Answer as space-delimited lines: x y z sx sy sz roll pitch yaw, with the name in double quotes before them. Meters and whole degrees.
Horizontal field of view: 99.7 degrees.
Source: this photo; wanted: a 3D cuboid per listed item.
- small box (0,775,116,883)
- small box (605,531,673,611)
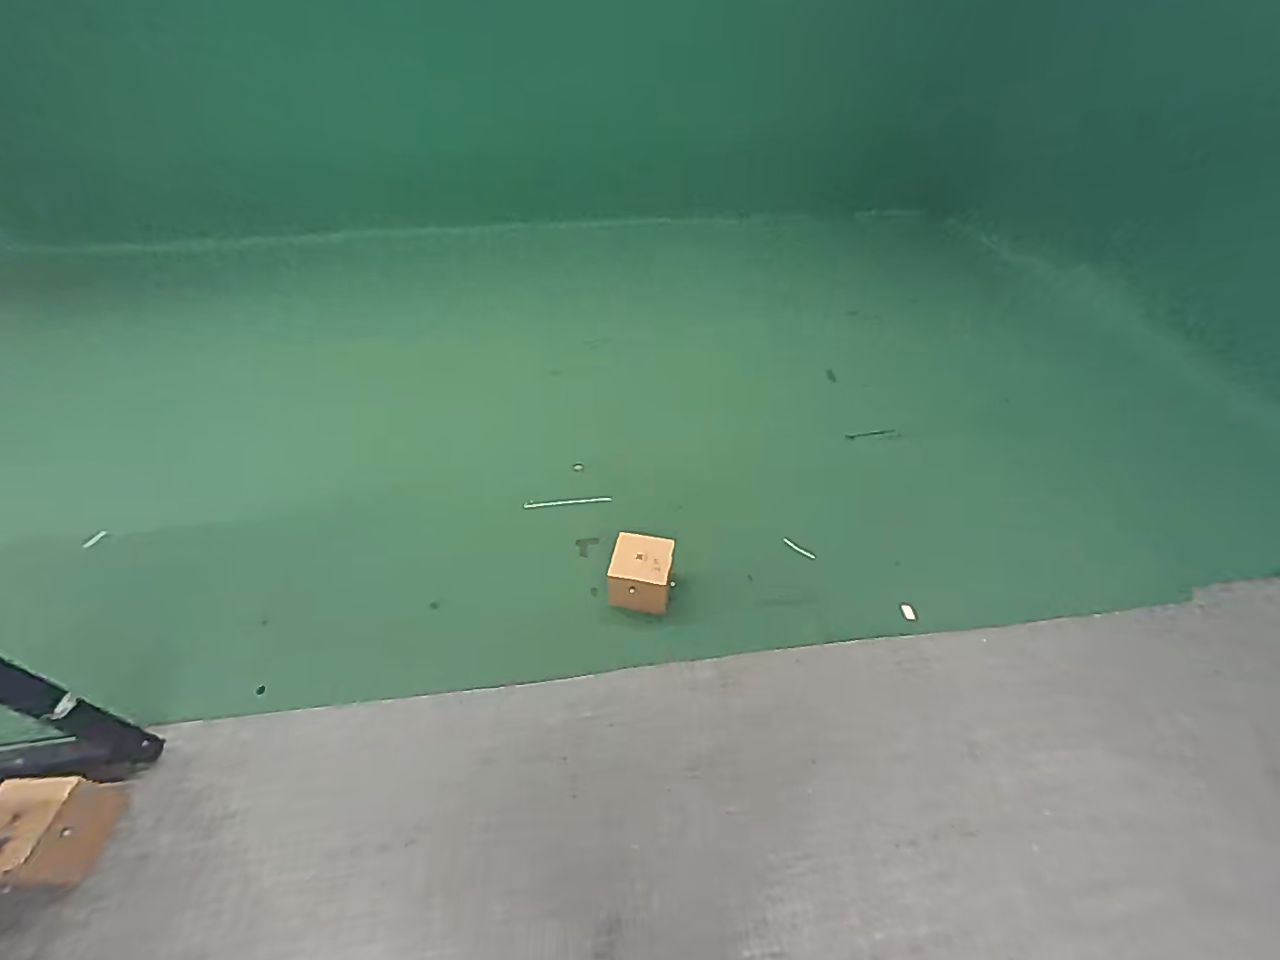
"small box" -1.322 0.764 1.180 0.168 0.176 0.179 -1 46 -2
"small box" -0.001 0.281 1.650 0.179 0.176 0.168 9 48 7
